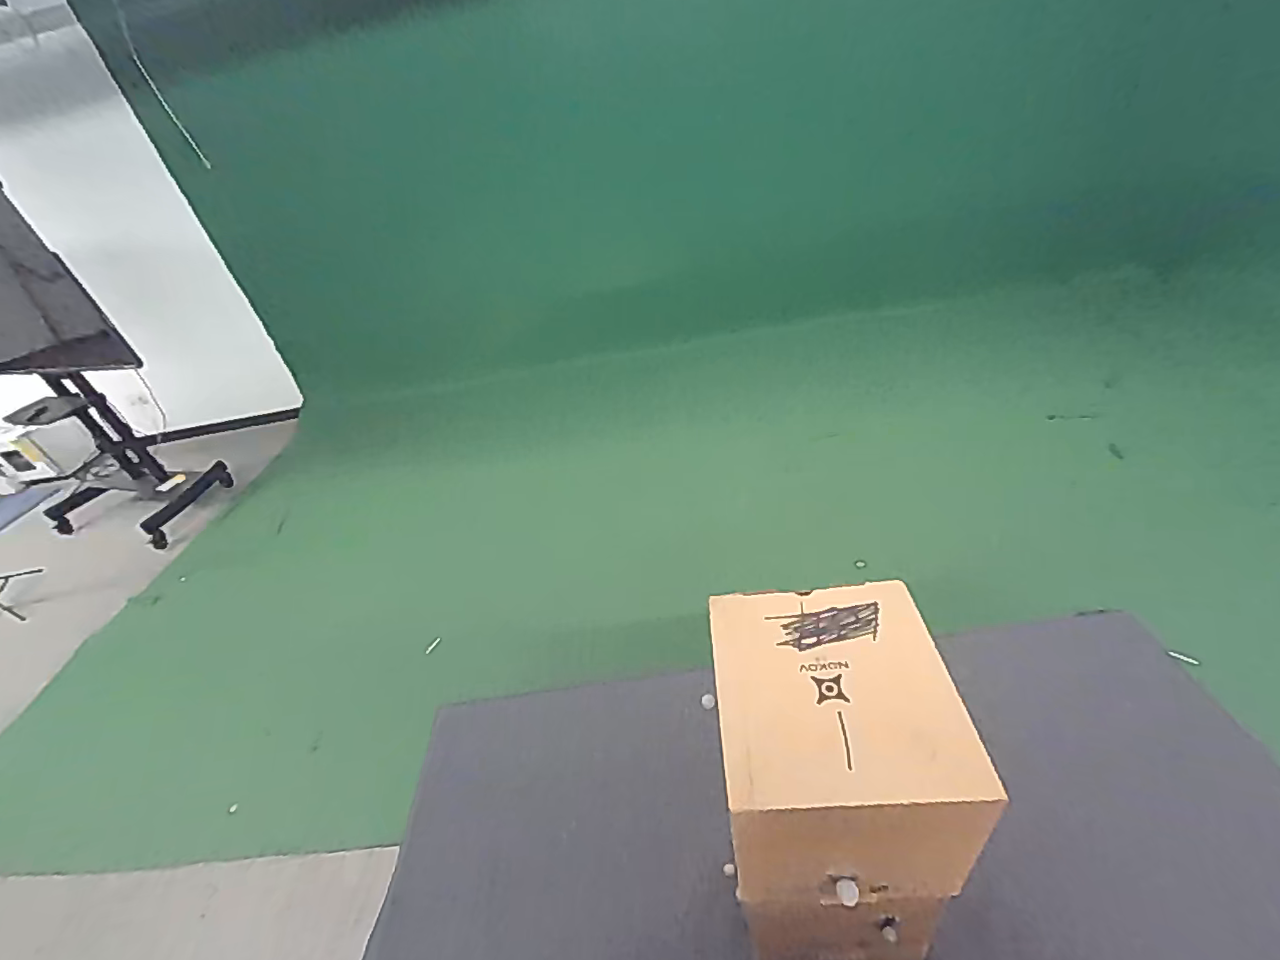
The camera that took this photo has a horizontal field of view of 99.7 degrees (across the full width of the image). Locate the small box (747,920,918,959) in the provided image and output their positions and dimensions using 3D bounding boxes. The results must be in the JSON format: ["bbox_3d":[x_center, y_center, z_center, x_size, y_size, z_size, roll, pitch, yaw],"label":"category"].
[{"bbox_3d":[0.206,0.456,0.640,0.168,0.176,0.179,-8,37,7],"label":"small box"}]

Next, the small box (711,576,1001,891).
[{"bbox_3d":[0.149,0.203,0.442,0.168,0.176,0.179,-7,38,7],"label":"small box"}]

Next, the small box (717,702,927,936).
[{"bbox_3d":[0.174,0.330,0.543,0.168,0.176,0.179,-7,36,6],"label":"small box"}]
